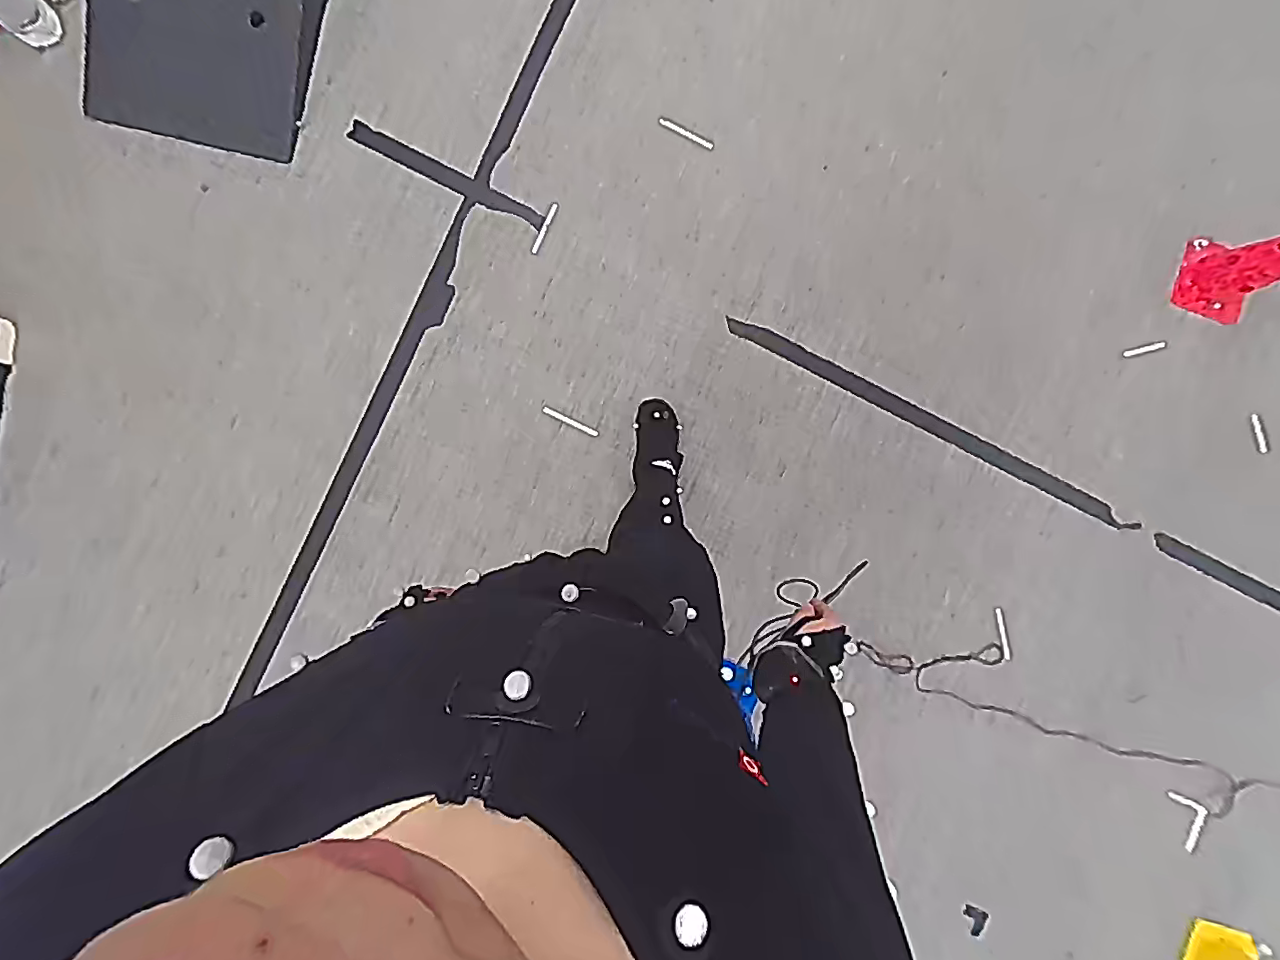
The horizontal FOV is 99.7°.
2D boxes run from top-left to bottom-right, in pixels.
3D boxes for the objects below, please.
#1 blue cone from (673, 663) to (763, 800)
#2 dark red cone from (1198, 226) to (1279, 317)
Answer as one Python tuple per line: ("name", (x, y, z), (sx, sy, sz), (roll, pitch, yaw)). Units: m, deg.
("blue cone", (0.205, 0.571, 1.197), (0.193, 0.380, 0.192), (26, 90, -3))
("dark red cone", (1.572, -0.537, 1.243), (0.202, 0.394, 0.201), (18, 90, -3))
